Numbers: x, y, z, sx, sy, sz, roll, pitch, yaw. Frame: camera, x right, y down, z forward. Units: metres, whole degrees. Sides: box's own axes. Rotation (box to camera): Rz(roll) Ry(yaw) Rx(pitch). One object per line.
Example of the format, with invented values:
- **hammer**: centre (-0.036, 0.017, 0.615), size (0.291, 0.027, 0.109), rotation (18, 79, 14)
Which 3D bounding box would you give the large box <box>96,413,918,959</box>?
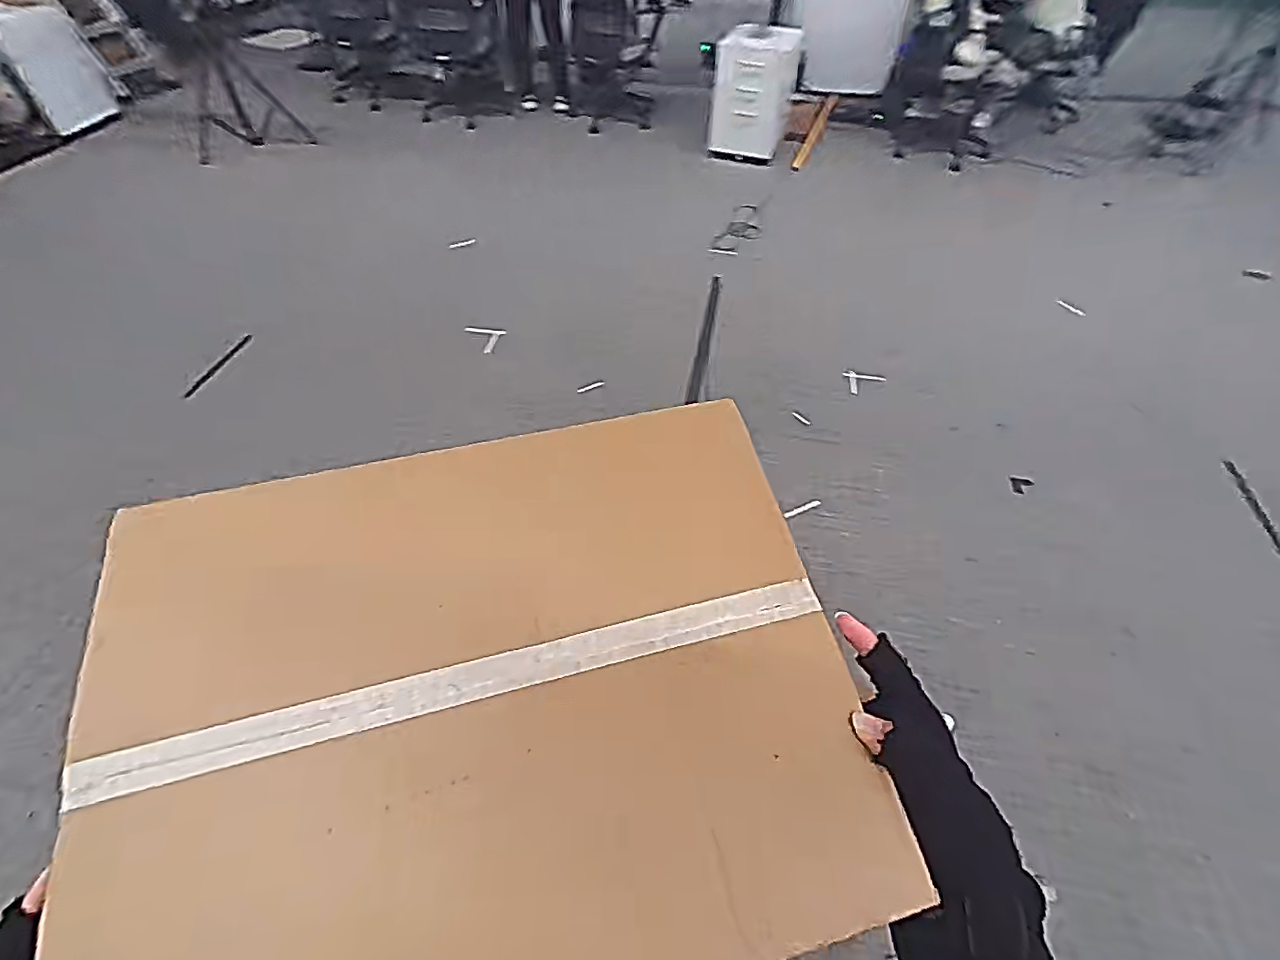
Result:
- **large box**: centre (-0.088, 0.187, 0.448), size (0.408, 0.320, 0.320), rotation (-11, 64, -9)
